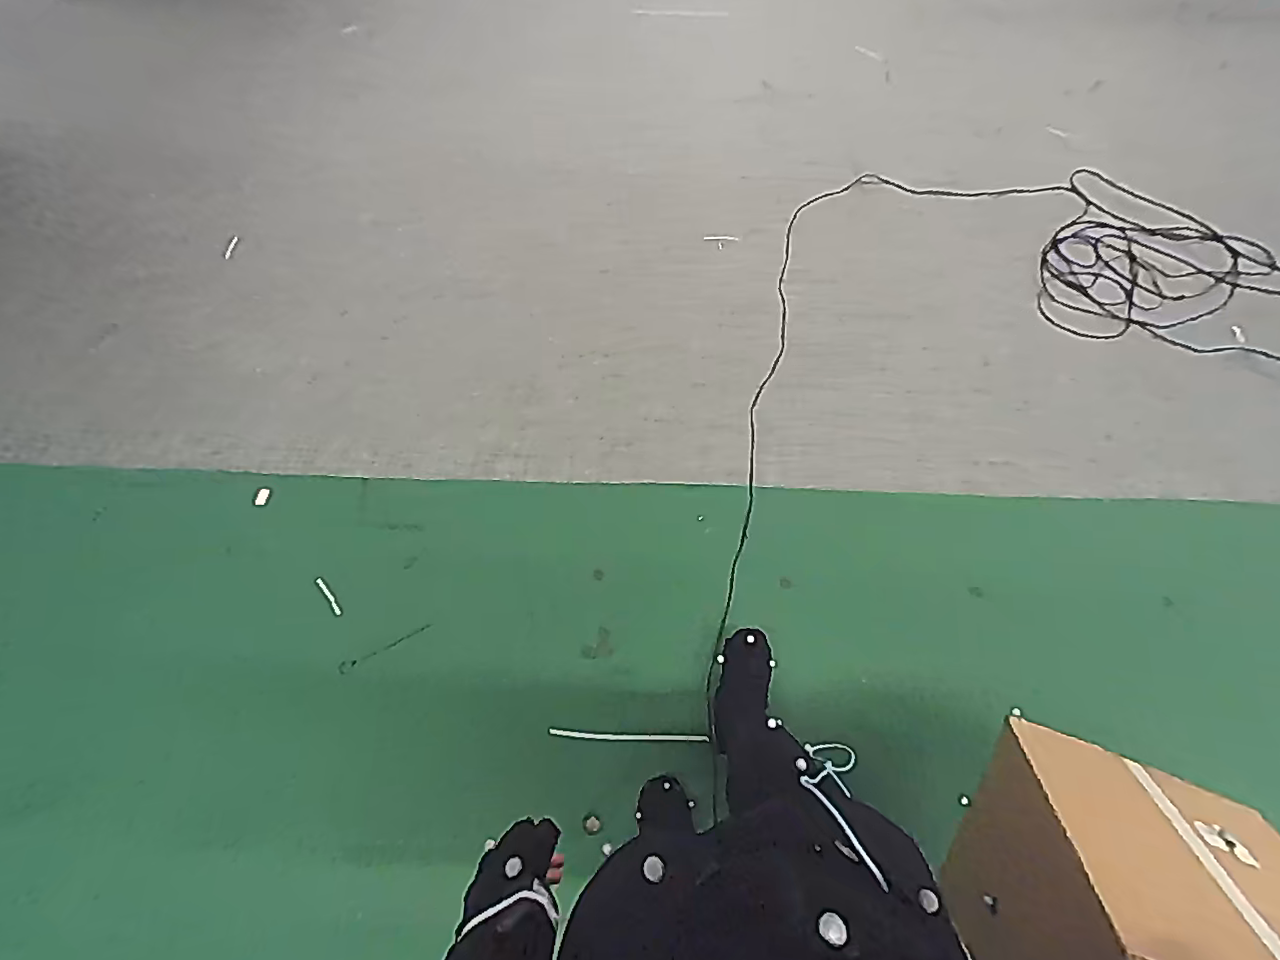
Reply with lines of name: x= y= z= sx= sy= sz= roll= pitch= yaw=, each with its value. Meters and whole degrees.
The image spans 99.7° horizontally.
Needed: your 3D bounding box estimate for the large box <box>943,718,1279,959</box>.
large box: x=0.602 y=0.577 z=0.640 sx=0.320 sy=0.408 sz=0.320 roll=19 pitch=103 yaw=18
